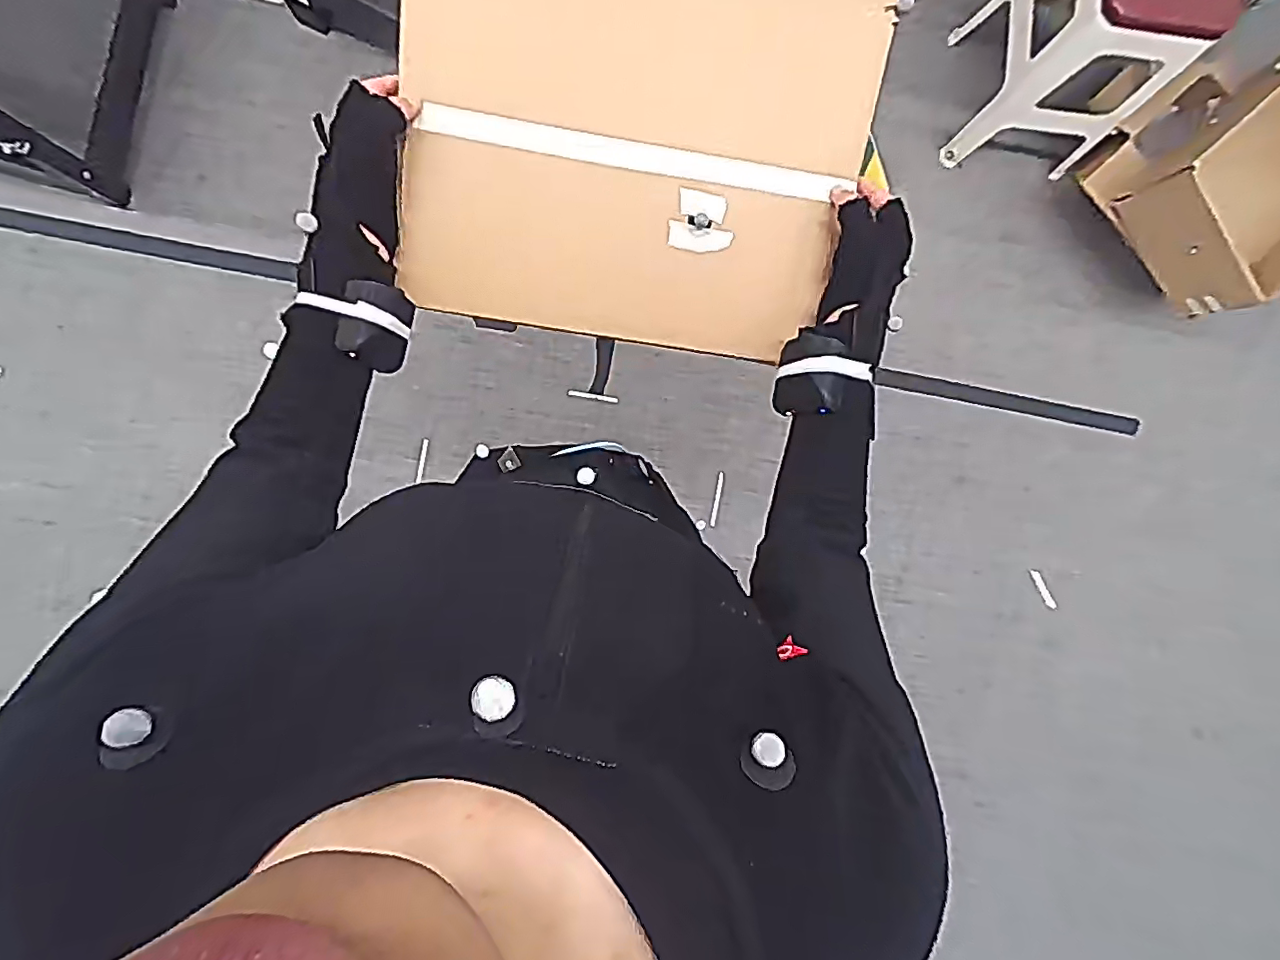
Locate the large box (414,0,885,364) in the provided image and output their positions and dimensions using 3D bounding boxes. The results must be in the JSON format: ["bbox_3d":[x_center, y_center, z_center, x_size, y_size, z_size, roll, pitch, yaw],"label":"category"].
[{"bbox_3d":[-0.011,-0.326,0.637,0.408,0.320,0.320,8,106,-6],"label":"large box"}]
